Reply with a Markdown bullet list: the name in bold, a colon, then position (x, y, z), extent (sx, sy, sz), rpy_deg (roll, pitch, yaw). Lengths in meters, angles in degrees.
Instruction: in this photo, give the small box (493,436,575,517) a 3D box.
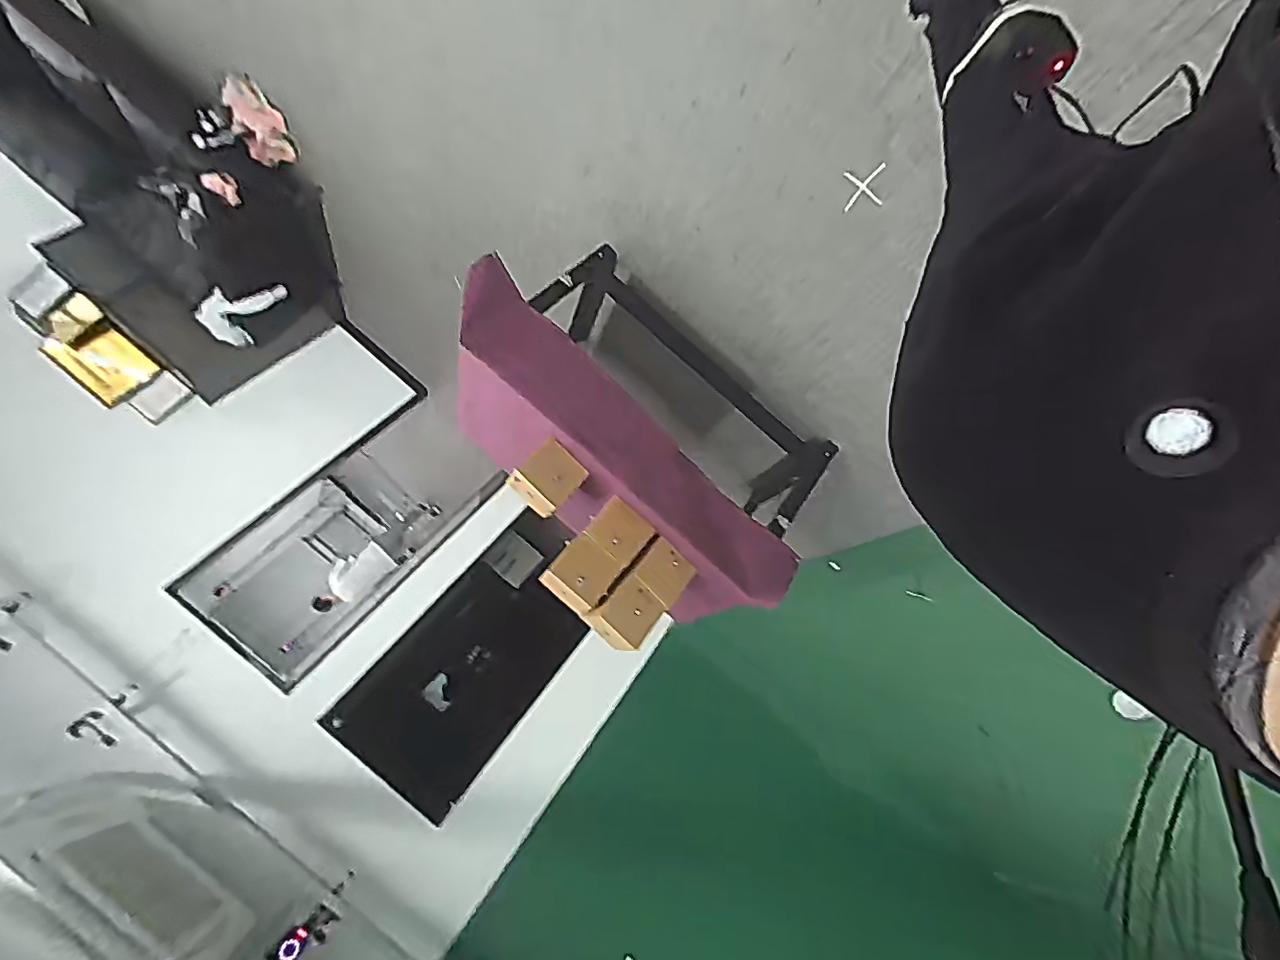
- **small box**: position (-0.341, -0.011, 1.749), extent (0.179, 0.176, 0.168), rpy_deg (45, 150, -9)
